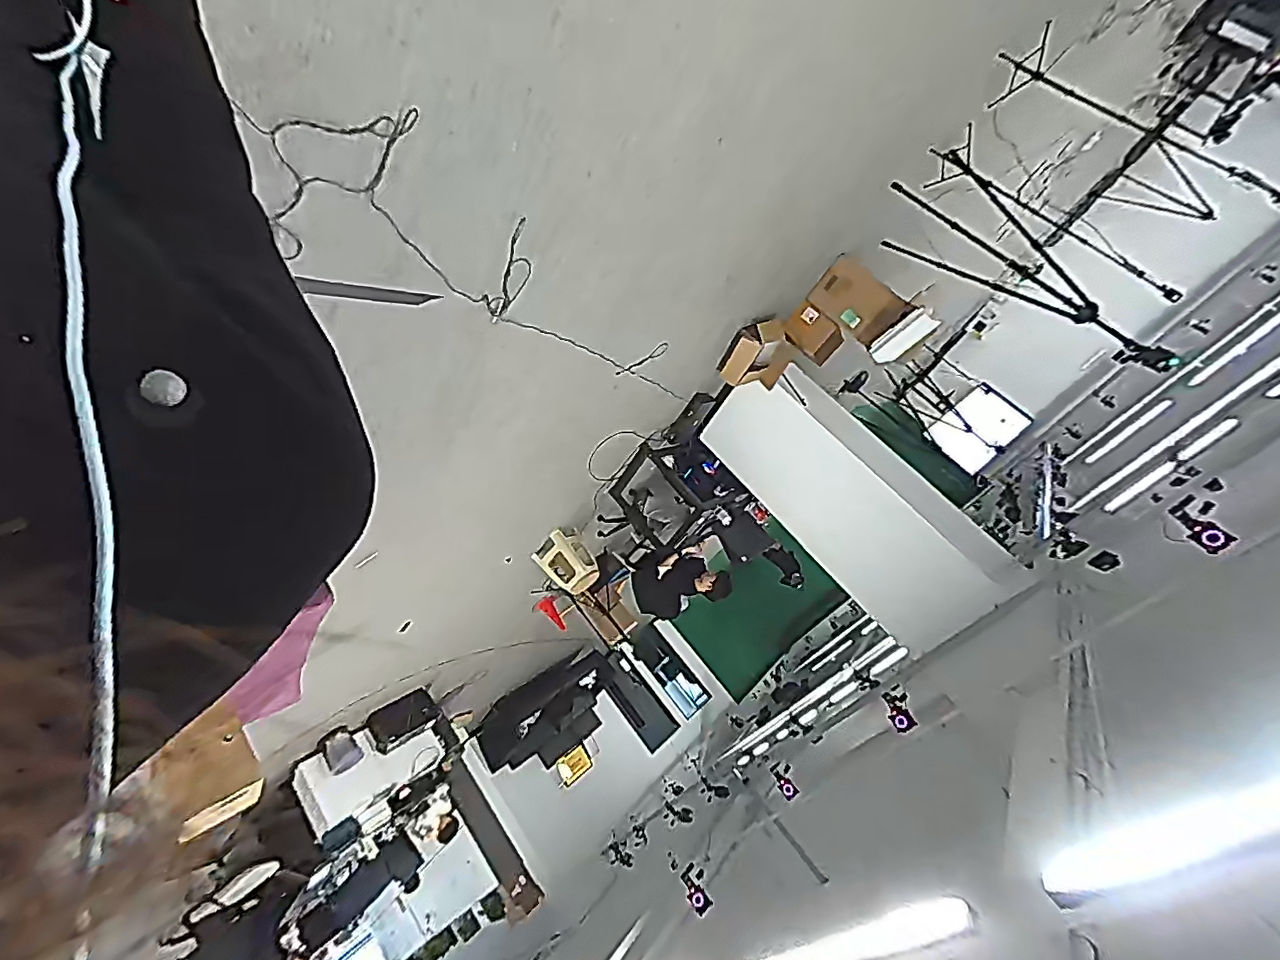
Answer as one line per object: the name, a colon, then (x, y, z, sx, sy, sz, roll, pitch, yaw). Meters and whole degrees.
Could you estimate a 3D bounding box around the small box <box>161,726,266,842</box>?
small box: (-1.079, 0.757, 1.366, 0.168, 0.176, 0.179, -17, 150, -51)

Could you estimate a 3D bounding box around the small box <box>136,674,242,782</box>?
small box: (-1.180, 0.634, 1.410, 0.168, 0.176, 0.179, -13, 146, -54)
